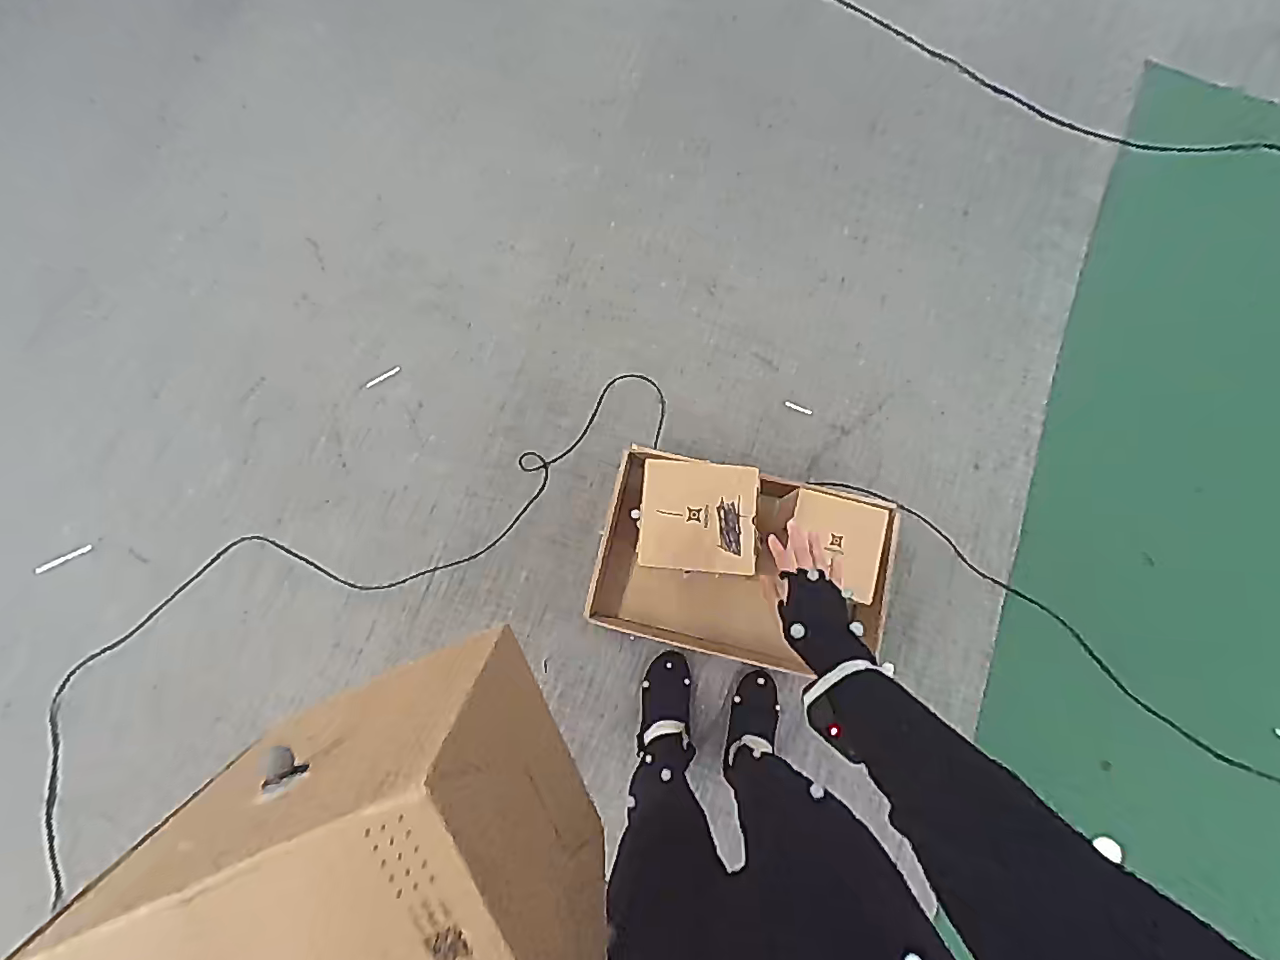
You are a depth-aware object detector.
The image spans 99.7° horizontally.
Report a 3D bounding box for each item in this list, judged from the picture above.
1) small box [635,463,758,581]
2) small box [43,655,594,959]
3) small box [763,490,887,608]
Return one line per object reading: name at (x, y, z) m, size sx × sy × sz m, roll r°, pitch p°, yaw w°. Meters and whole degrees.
small box at (0.086, 0.073, 0.890) m, size 0.179 × 0.176 × 0.168 m, roll 4°, pitch 81°, yaw 1°
small box at (-0.129, 0.219, 0.285) m, size 0.176 × 0.179 × 0.168 m, roll -23°, pitch 96°, yaw -3°
small box at (0.345, 0.135, 1.039) m, size 0.168 × 0.176 × 0.179 m, roll 15°, pitch 81°, yaw 4°
